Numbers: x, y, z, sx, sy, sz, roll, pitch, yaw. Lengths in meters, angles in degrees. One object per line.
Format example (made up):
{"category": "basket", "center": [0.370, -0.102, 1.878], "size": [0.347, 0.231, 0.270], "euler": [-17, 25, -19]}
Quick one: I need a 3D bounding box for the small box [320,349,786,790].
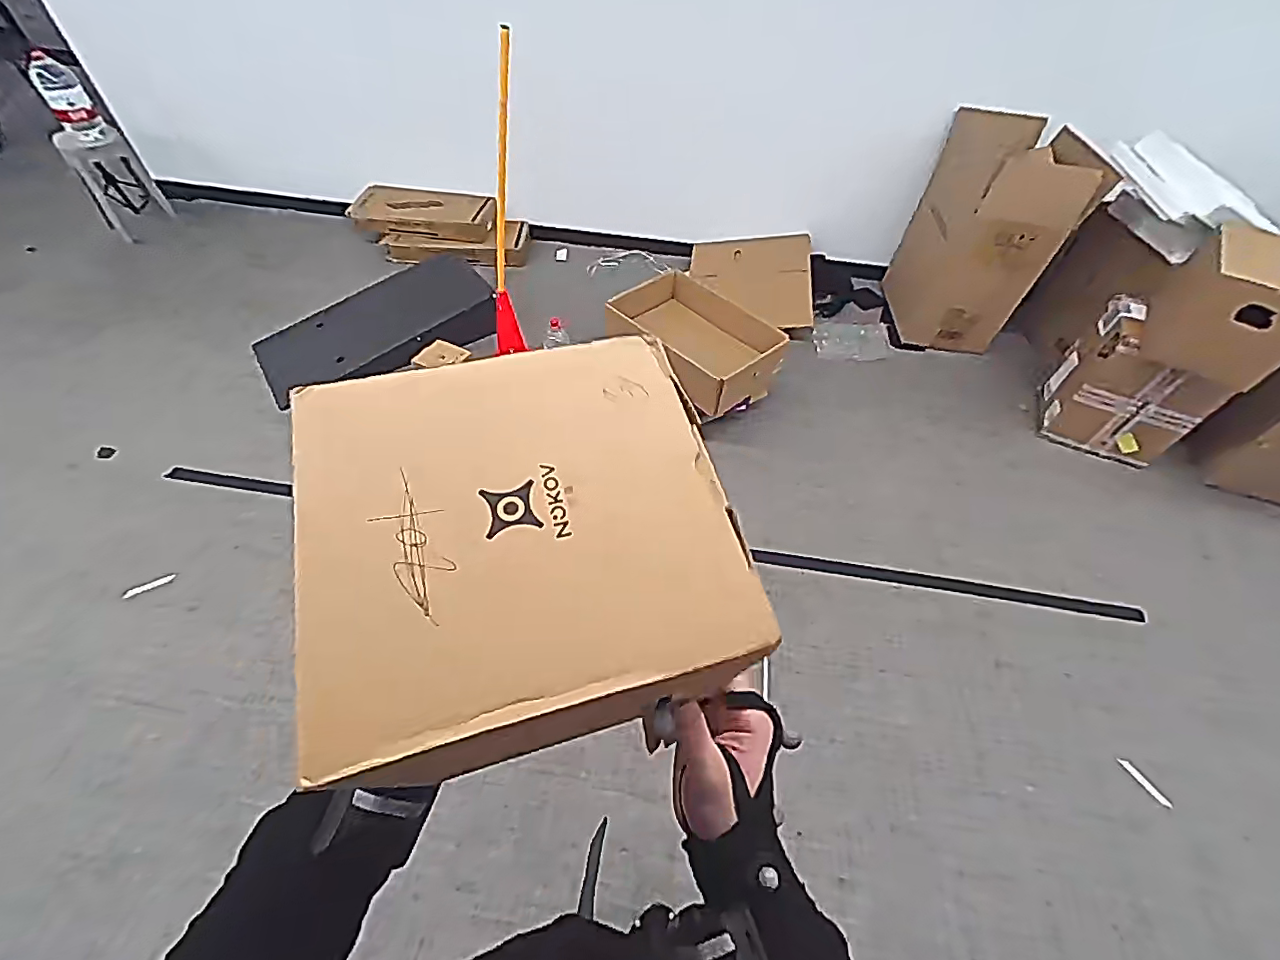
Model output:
{"category": "small box", "center": [-0.051, 0.056, 0.308], "size": [0.179, 0.176, 0.168], "euler": [-14, 63, -13]}
